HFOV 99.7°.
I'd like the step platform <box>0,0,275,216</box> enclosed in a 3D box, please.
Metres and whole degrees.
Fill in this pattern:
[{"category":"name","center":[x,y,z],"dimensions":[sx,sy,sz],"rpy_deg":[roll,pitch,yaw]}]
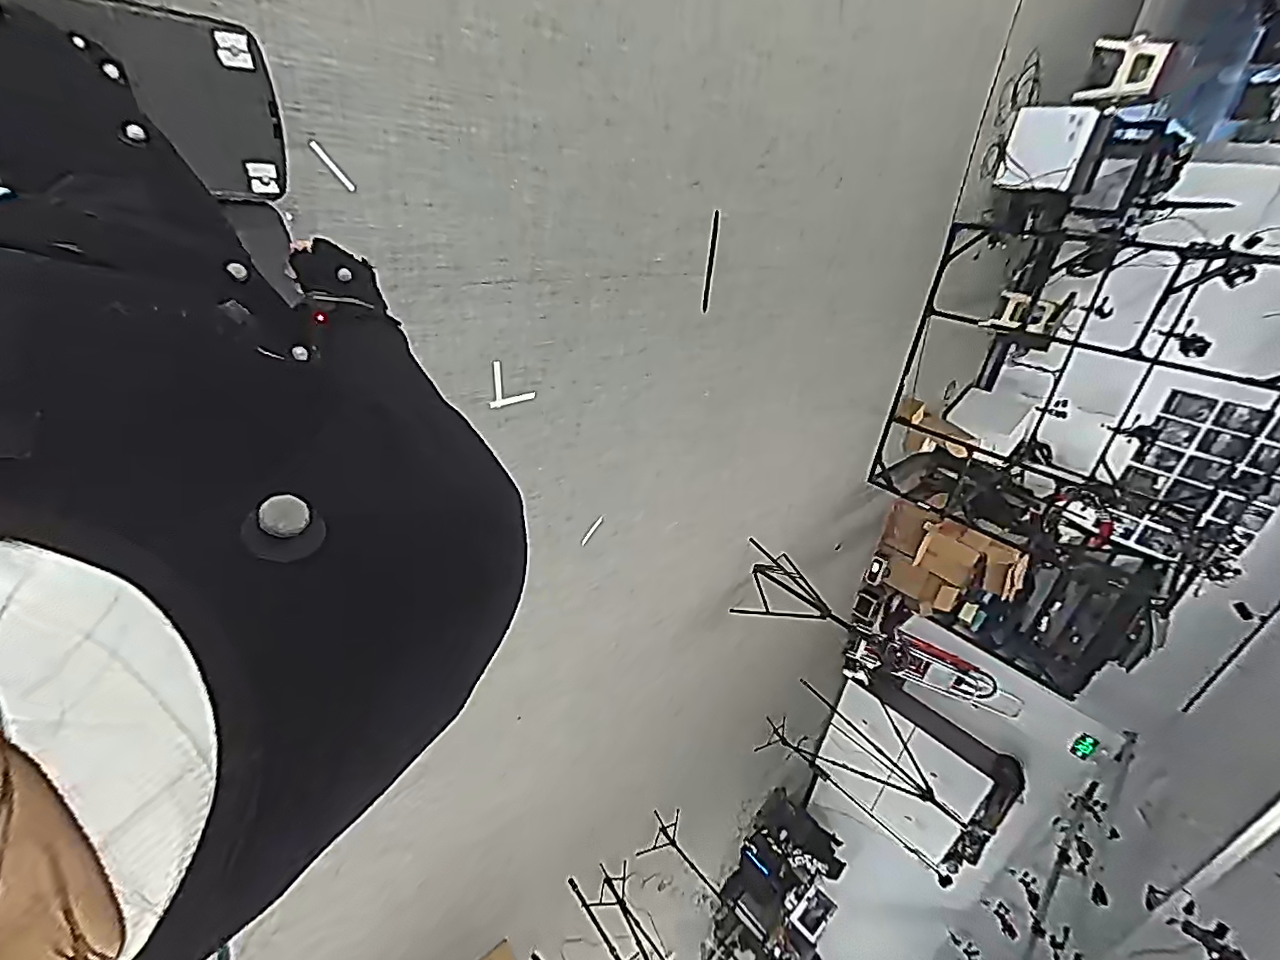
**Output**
[{"category":"step platform","center":[-1.004,-0.595,0.872],"dimensions":[0.684,0.204,0.286],"rpy_deg":[-22,130,-39]}]
